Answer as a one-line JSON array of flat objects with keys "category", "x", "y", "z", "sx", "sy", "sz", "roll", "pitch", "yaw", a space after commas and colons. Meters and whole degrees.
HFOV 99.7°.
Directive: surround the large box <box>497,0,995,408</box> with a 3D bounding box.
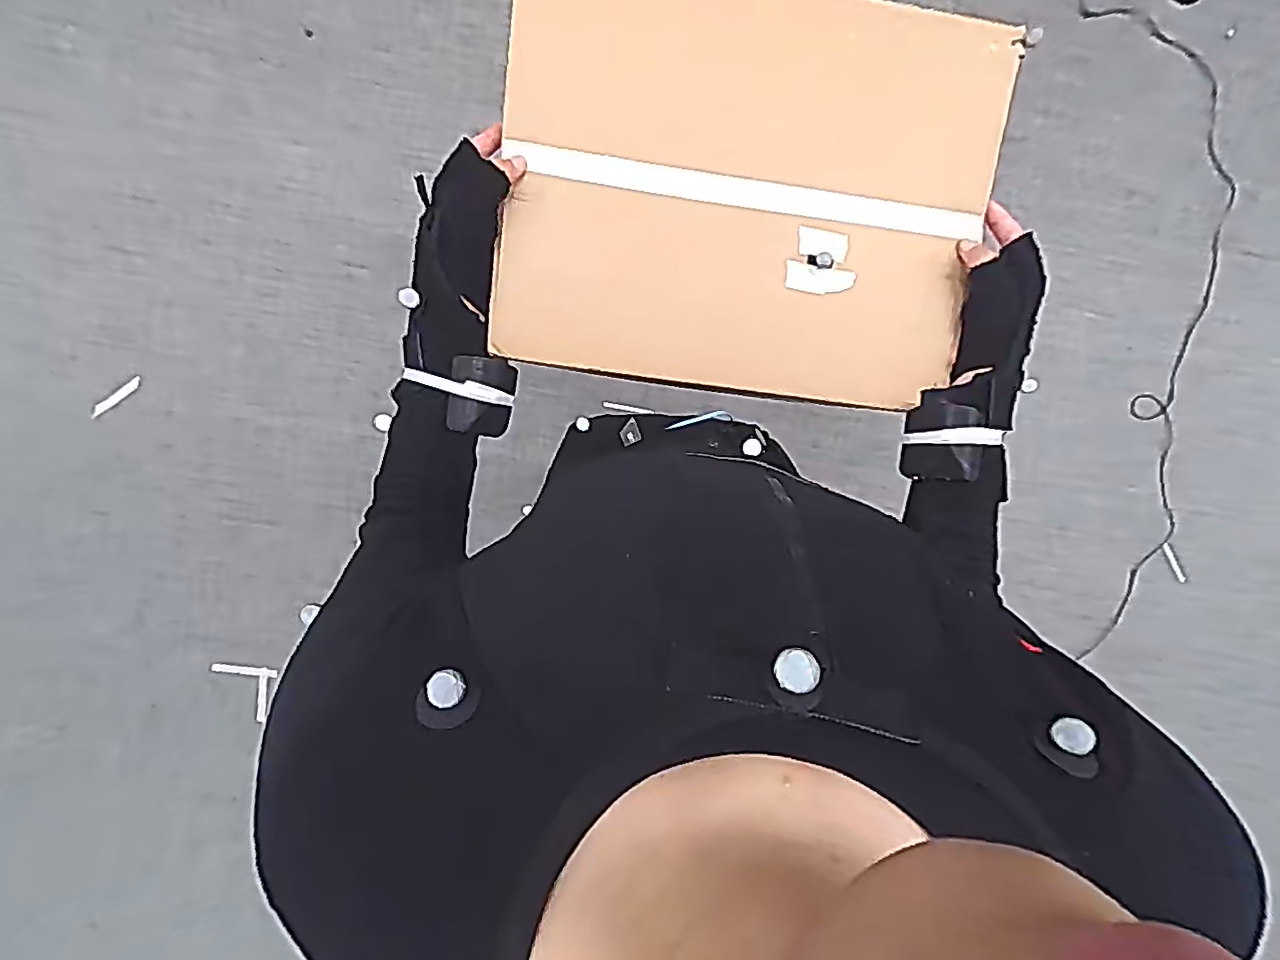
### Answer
[{"category": "large box", "x": 0.074, "y": -0.261, "z": 0.606, "sx": 0.408, "sy": 0.320, "sz": 0.320, "roll": 6, "pitch": 101, "yaw": -6}]
